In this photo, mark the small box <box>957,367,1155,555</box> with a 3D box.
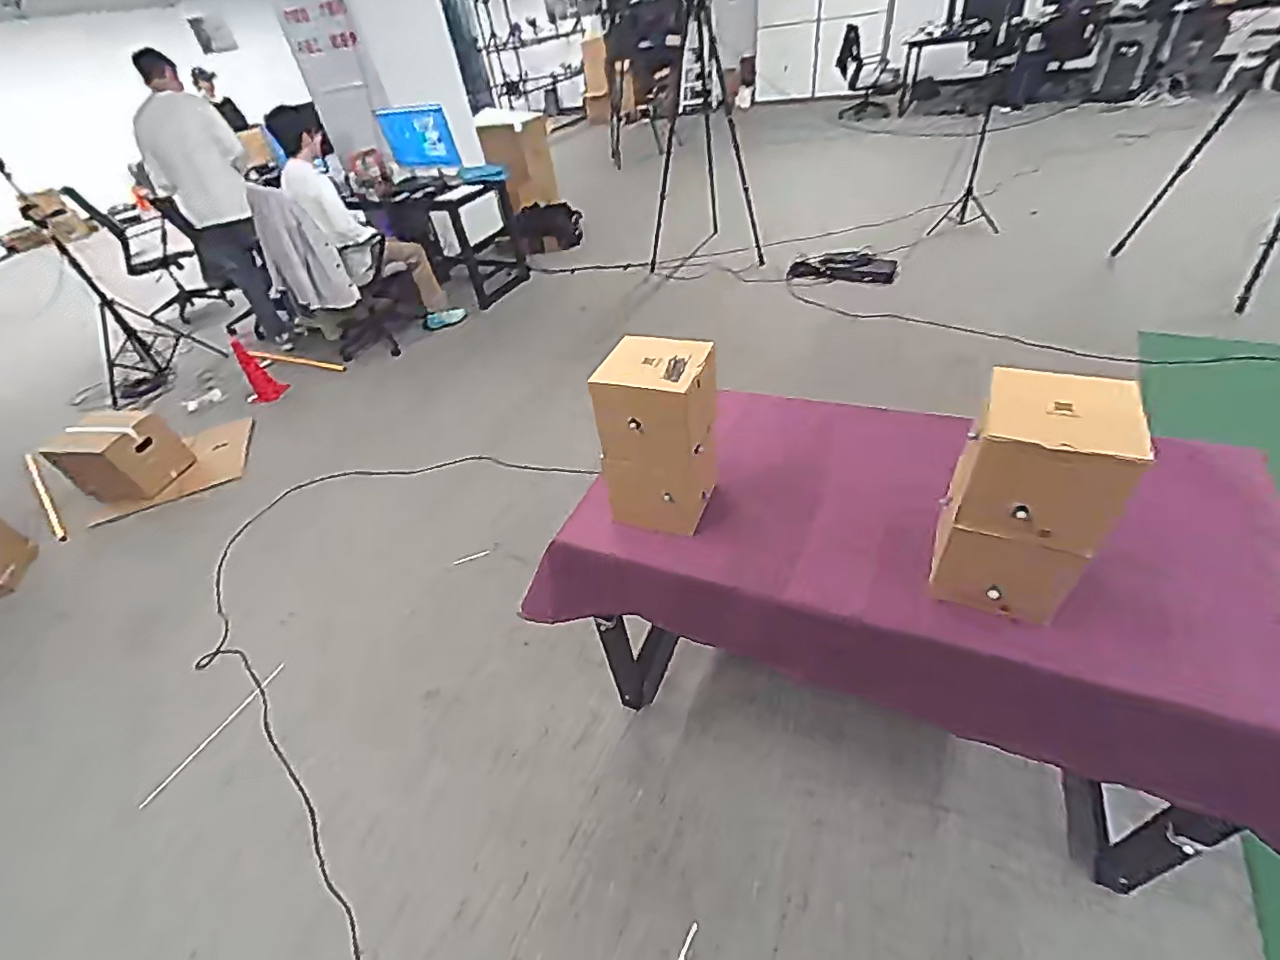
[{"bbox_3d":[0.552,-0.029,0.741,0.168,0.176,0.179,14,47,25],"label":"small box"}]

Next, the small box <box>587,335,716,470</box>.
[{"bbox_3d":[0.031,-0.138,0.967,0.179,0.176,0.168,10,45,21],"label":"small box"}]

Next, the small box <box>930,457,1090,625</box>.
[{"bbox_3d":[0.570,0.091,0.850,0.168,0.176,0.179,13,47,25],"label":"small box"}]
